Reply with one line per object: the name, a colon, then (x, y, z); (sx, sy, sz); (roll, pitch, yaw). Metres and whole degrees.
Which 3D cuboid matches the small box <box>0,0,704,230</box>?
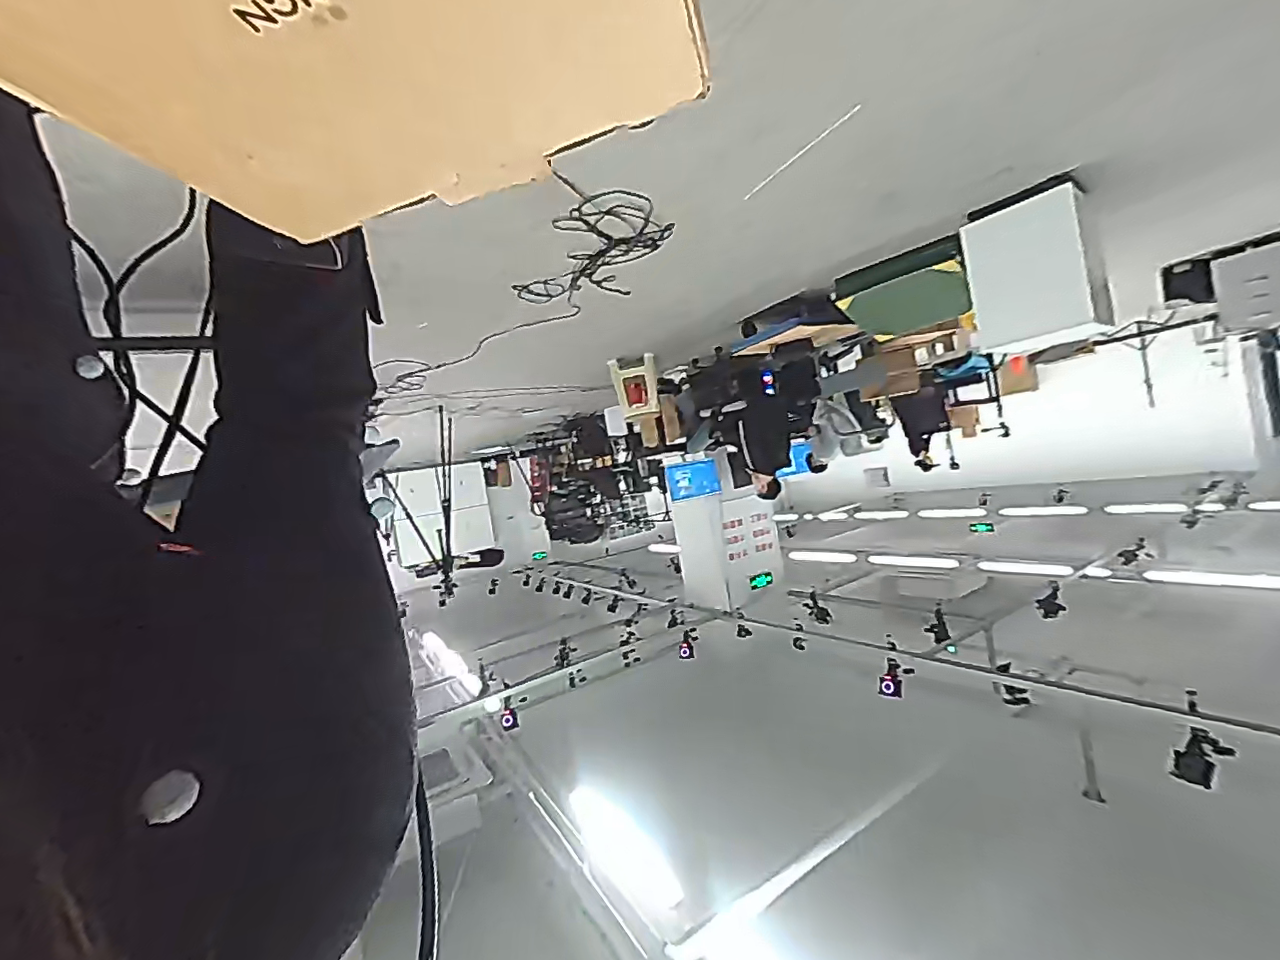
small box: (-0.092, -0.197, 0.118); (0.168, 0.176, 0.179); (-10, 176, 15)
